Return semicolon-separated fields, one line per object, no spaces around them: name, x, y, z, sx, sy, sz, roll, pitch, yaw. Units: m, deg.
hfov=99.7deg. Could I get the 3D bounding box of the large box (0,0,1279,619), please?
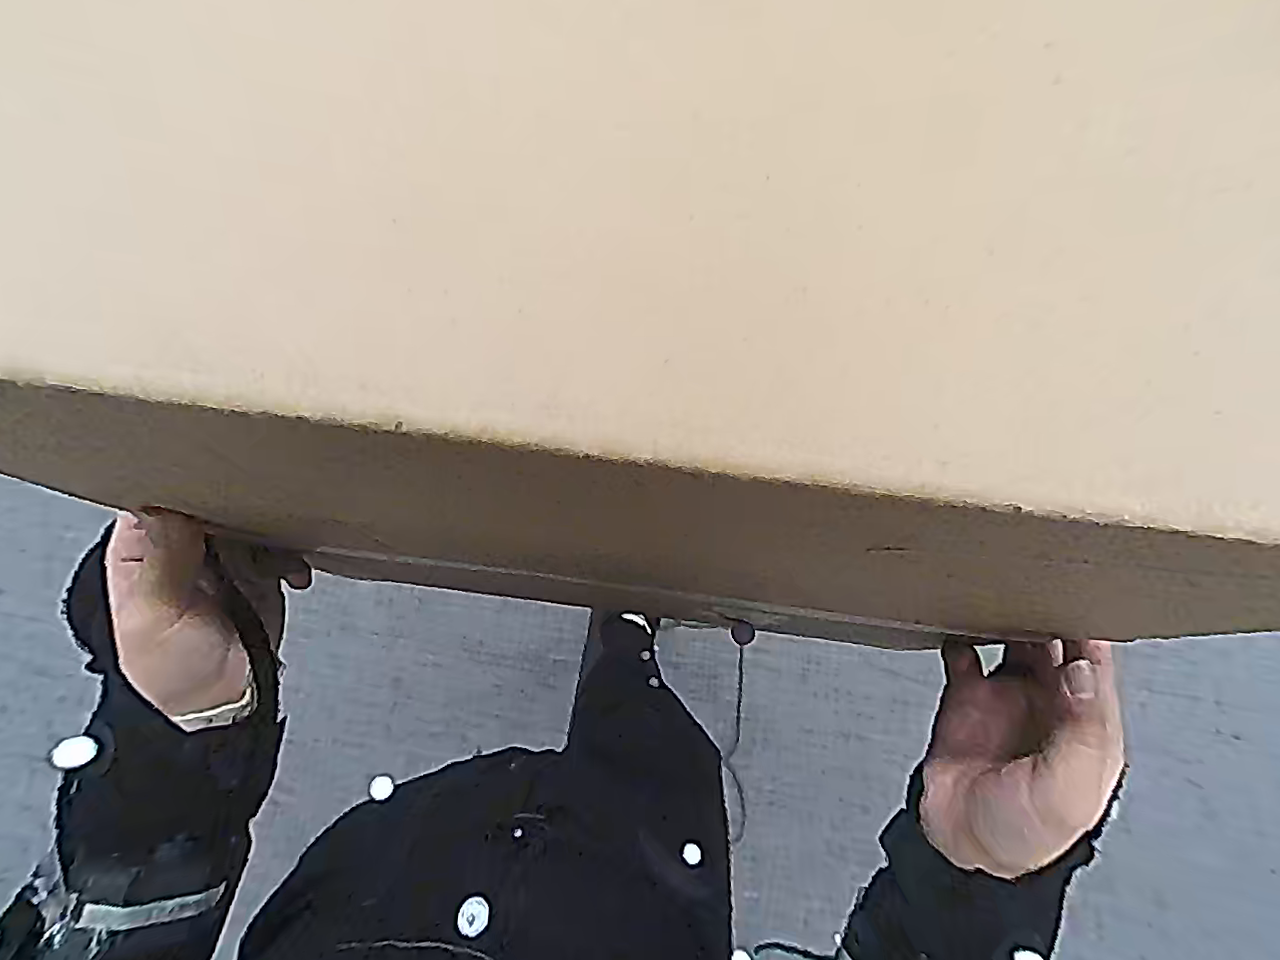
large box;0.013;-0.114;0.301;0.408;0.320;0.320;7;72;0
